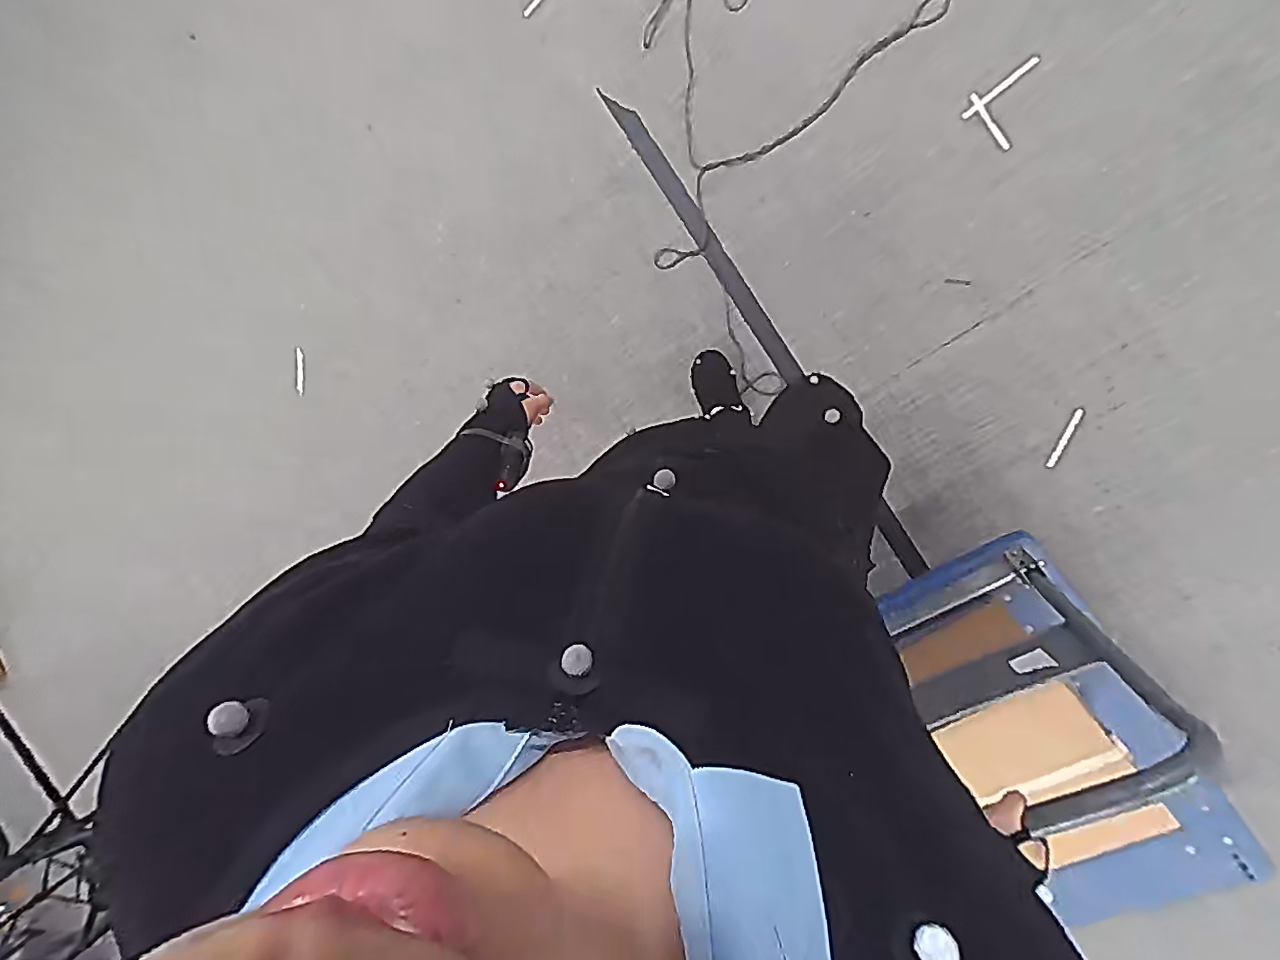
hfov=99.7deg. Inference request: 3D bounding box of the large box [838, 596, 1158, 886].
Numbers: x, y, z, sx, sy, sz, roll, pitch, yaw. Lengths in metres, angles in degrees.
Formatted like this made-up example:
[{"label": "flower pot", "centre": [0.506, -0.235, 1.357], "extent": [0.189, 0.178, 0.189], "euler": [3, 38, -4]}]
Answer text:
[{"label": "large box", "centre": [0.671, 0.511, 1.106], "extent": [0.408, 0.320, 0.320], "euler": [-40, 87, 22]}]
